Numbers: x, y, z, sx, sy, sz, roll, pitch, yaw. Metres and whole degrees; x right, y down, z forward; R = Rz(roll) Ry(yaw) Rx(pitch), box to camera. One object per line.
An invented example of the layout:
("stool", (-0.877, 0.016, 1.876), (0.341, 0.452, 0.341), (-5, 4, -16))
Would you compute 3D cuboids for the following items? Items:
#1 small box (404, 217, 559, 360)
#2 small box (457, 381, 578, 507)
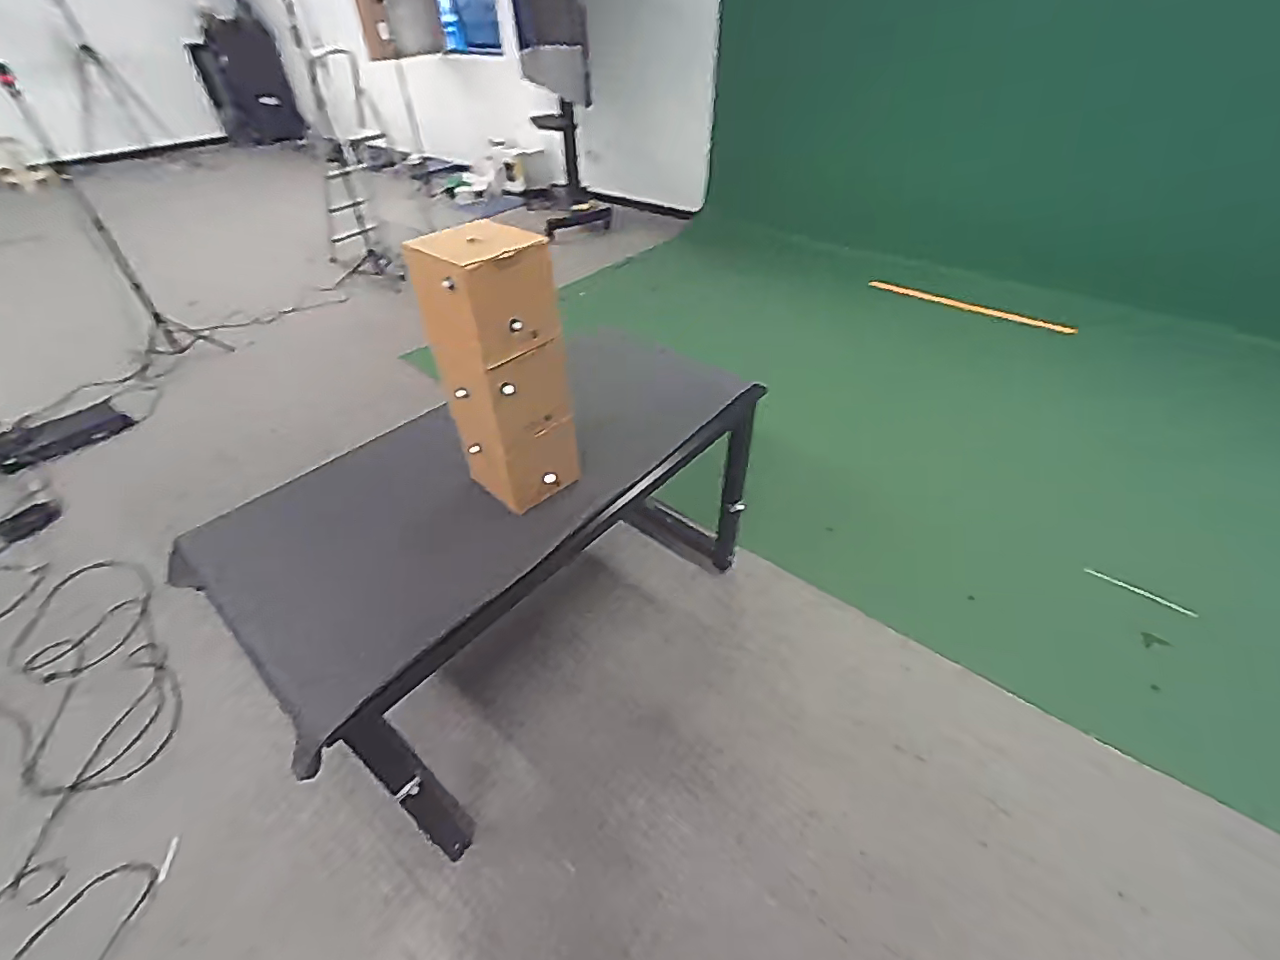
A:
("small box", (-0.256, -0.321, 0.903), (0.179, 0.176, 0.168), (29, 49, 30))
("small box", (-0.246, -0.074, 1.116), (0.168, 0.176, 0.179), (-34, 51, -31))
